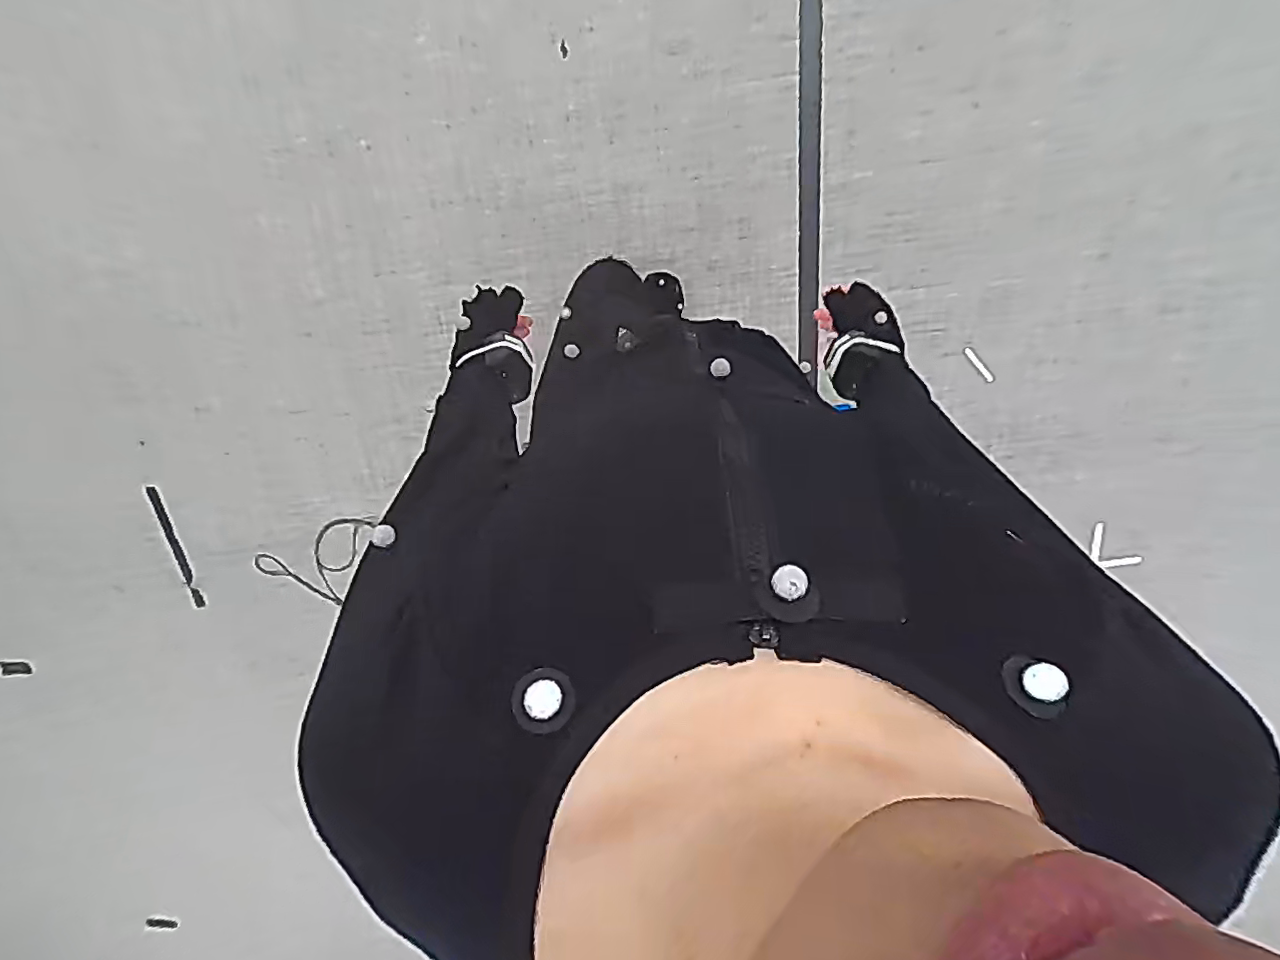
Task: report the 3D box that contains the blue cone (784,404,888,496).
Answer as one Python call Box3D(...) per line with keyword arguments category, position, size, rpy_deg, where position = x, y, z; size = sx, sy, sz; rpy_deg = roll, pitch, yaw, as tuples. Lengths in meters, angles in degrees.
Box3D(category="blue cone", position=(0.497, -0.044, 1.327), size=(0.192, 0.380, 0.193), rpy_deg=(-10, 111, 2))
